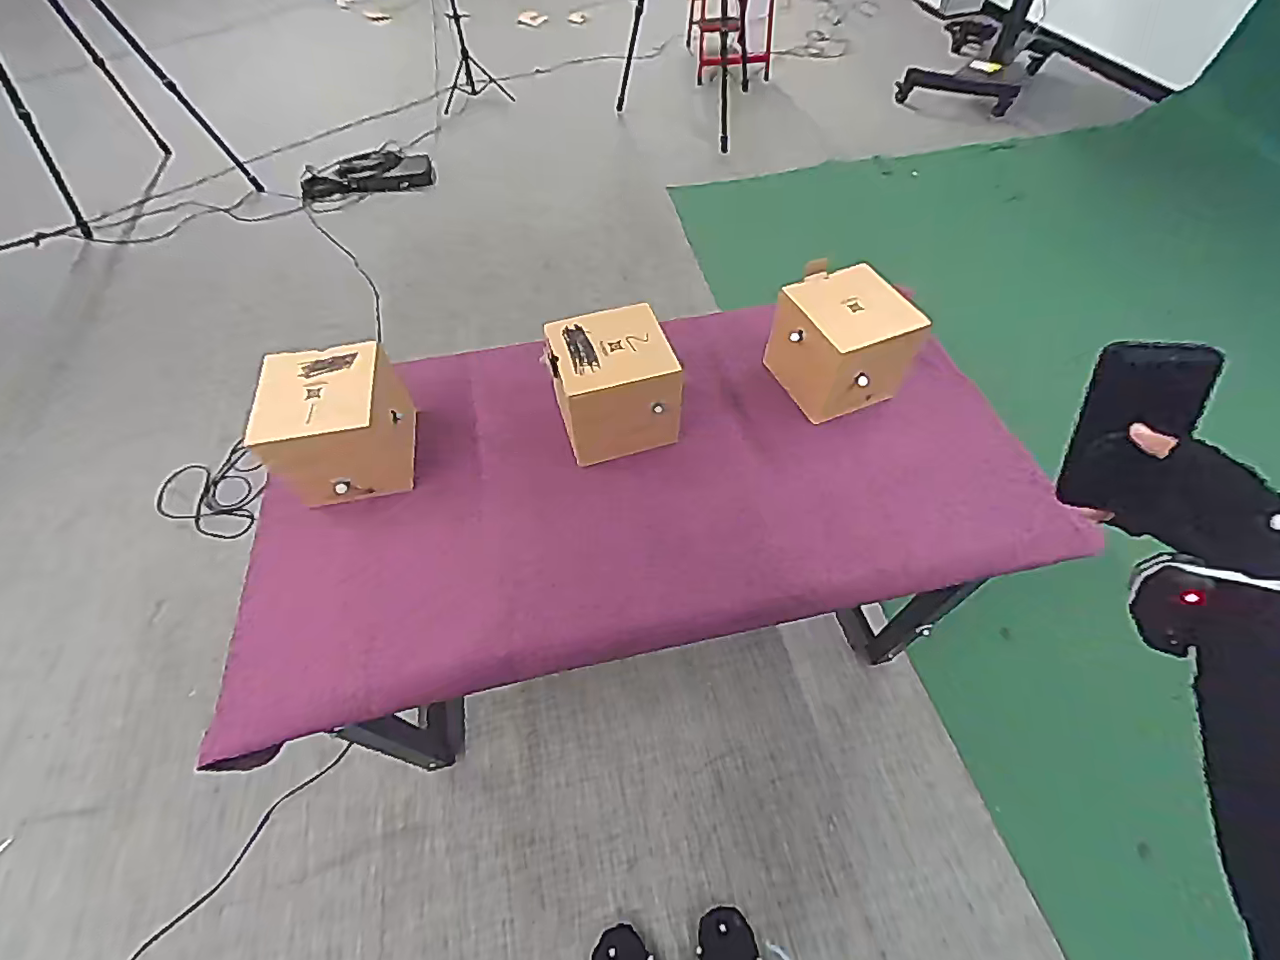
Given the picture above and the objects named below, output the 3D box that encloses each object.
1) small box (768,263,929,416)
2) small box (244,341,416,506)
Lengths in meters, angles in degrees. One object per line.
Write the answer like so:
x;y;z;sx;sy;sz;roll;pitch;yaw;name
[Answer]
0.338;-0.229;0.917;0.168;0.176;0.179;-20;57;-11;small box
-0.459;-0.084;0.834;0.168;0.176;0.179;-10;58;-5;small box
